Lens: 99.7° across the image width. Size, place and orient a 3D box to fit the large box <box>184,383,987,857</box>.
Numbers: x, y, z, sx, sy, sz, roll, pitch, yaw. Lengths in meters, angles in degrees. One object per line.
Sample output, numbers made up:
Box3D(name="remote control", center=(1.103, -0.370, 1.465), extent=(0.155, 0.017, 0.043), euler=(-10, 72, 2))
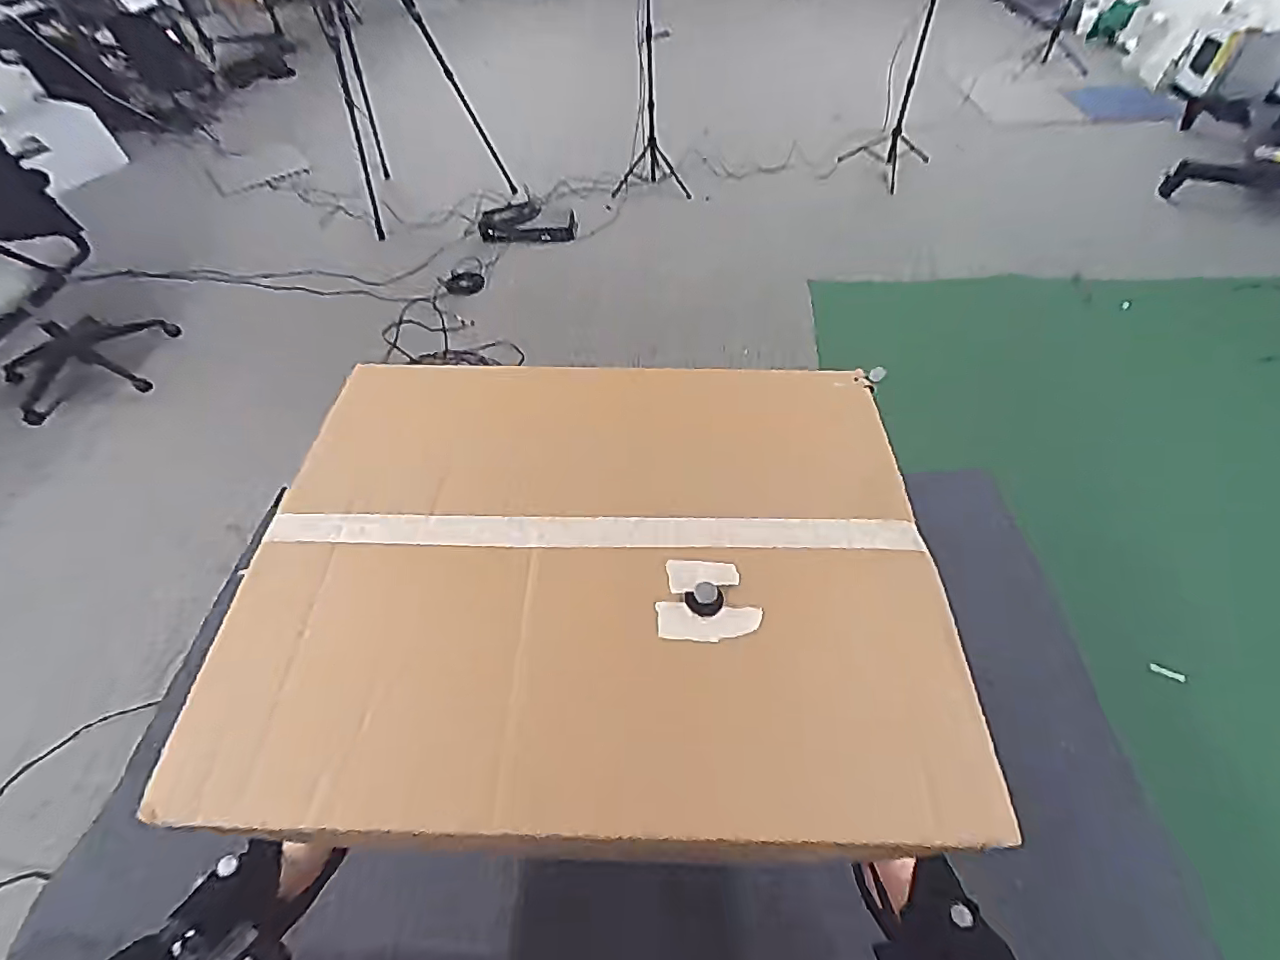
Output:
Box3D(name="large box", center=(-0.027, 0.132, 0.470), extent=(0.408, 0.320, 0.320), euler=(1, 54, 0))
